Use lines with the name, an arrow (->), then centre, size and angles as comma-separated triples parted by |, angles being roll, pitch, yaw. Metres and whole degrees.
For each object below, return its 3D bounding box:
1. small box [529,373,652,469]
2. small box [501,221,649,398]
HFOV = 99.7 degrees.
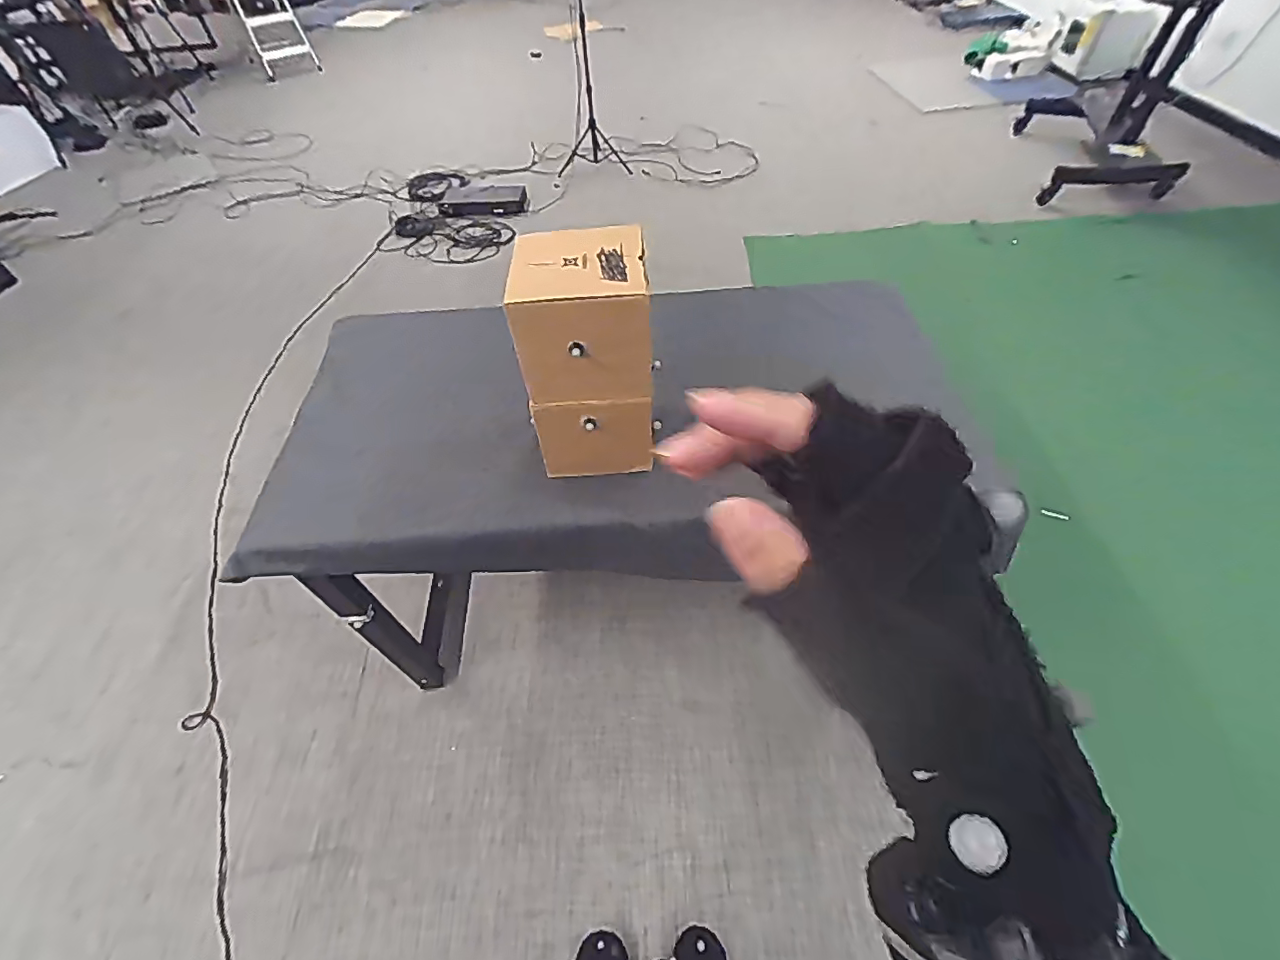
small box -> -0.073, -0.130, 0.881 | 0.179, 0.176, 0.168 | -3, 53, -1
small box -> -0.078, -0.232, 0.752 | 0.179, 0.176, 0.168 | -4, 53, 2
